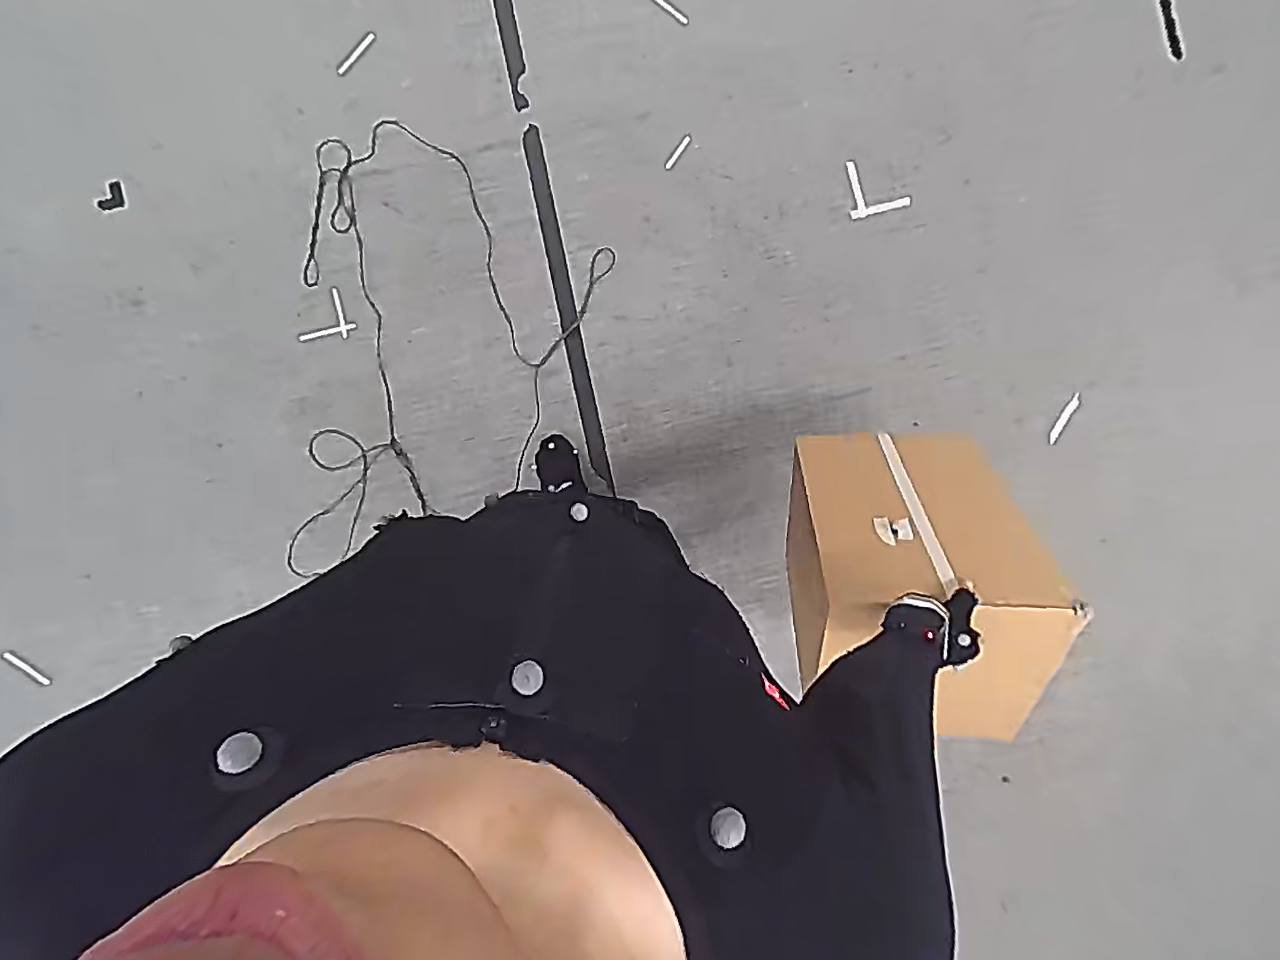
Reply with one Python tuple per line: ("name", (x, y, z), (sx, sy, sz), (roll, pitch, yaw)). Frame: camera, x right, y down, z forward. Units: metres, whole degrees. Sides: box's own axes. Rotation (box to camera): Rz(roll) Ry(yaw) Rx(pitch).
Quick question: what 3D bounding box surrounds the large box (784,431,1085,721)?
("large box", (0.443, 0.152, 0.947), (0.320, 0.408, 0.320), (-2, 129, 8))
